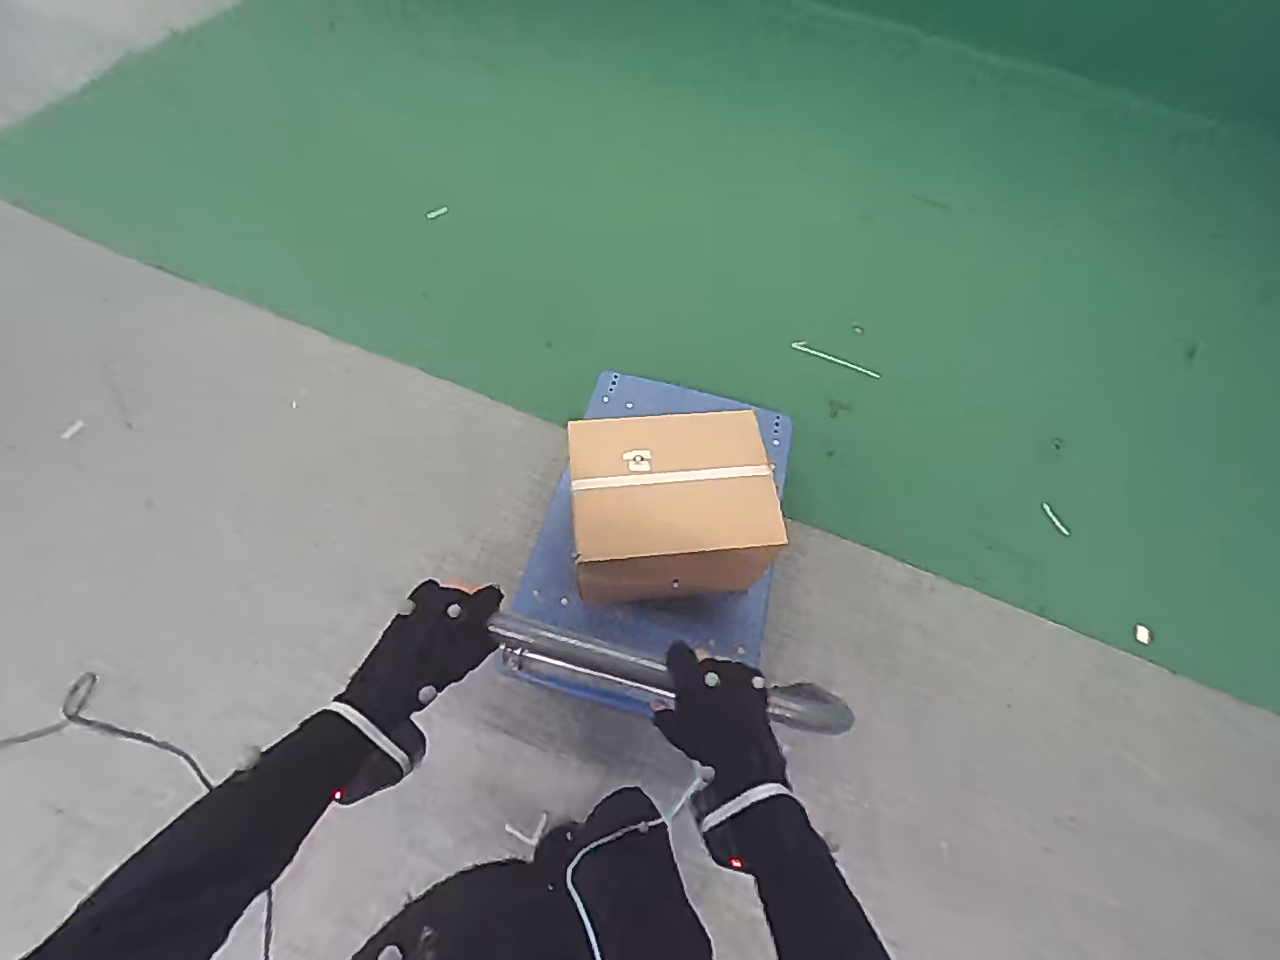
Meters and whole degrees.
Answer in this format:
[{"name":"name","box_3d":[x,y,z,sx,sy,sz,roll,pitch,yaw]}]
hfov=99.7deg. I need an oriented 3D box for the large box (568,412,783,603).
[{"name":"large box","box_3d":[0.058,0.072,1.228,0.408,0.320,0.320,-5,62,-6]}]
